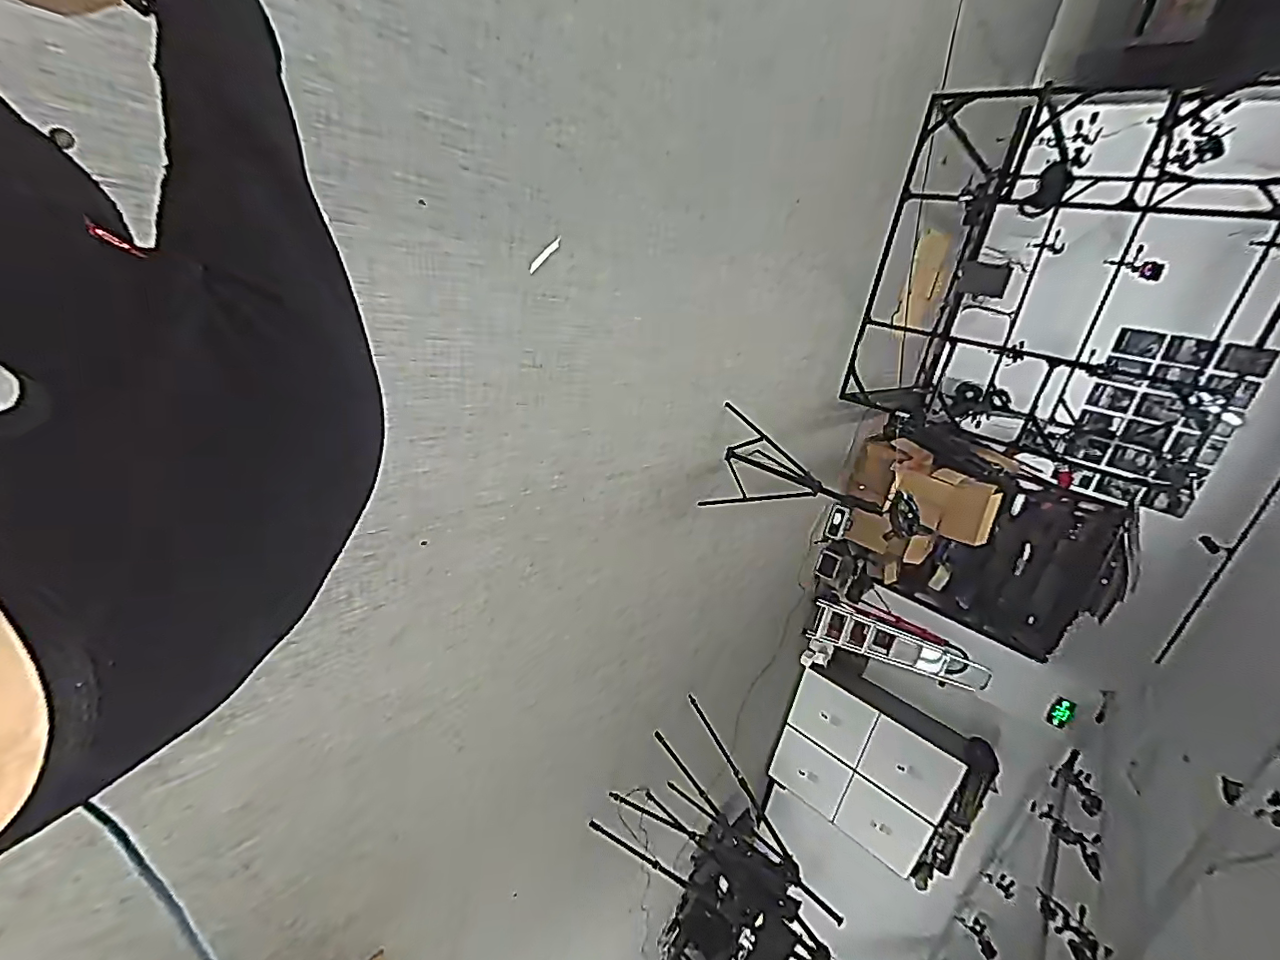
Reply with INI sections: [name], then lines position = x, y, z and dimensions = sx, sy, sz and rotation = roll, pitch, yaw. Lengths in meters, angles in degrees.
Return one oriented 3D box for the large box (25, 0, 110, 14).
[large box]
position = -0.578, -0.549, 0.295
dimensions = 0.408, 0.320, 0.320
rotation = -13, 123, -53
